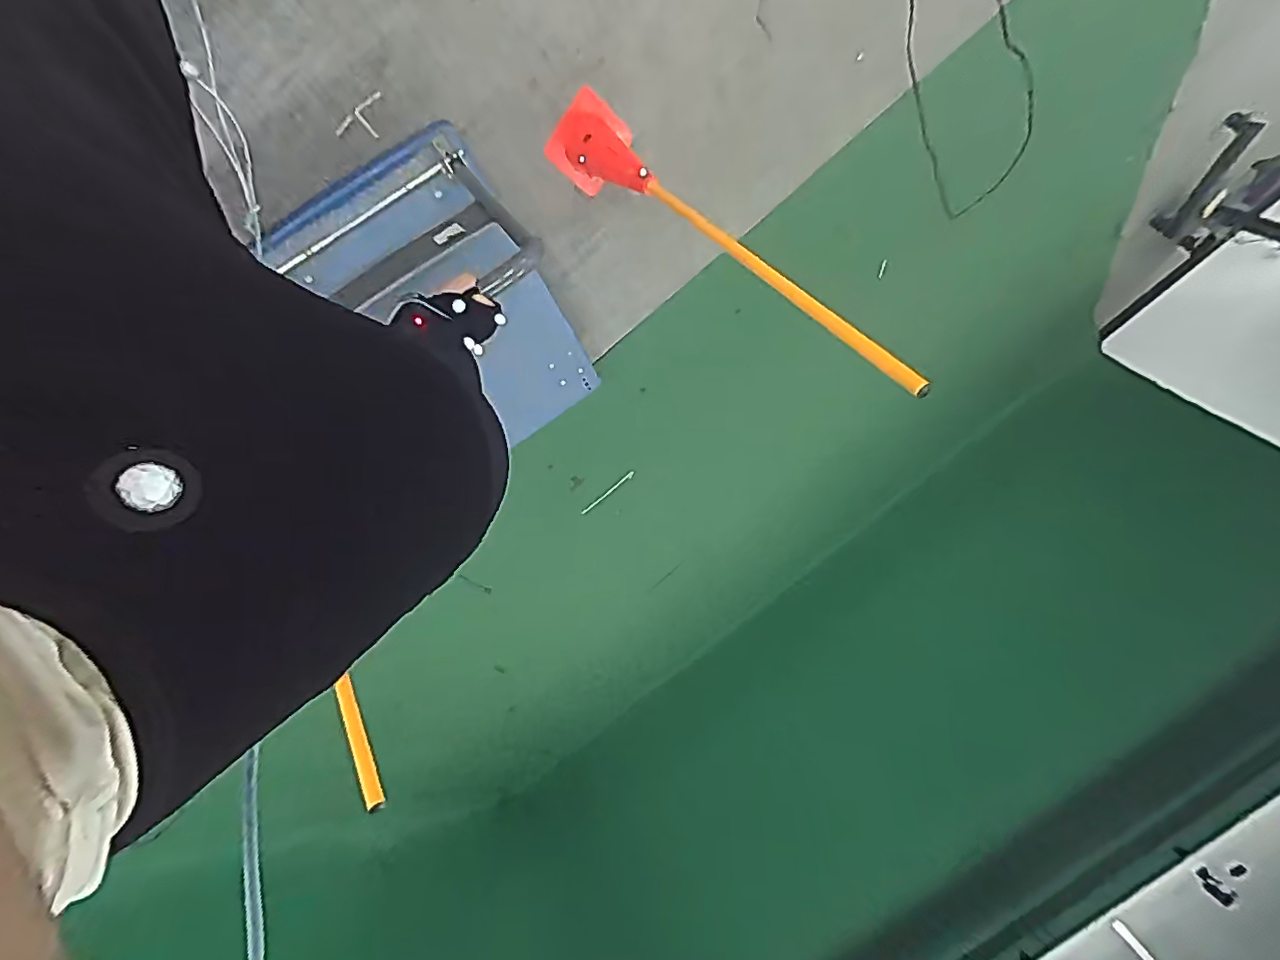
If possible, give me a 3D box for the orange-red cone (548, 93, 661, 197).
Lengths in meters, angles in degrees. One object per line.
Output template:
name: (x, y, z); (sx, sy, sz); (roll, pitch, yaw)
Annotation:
orange-red cone: (-0.051, -0.799, 1.376); (0.199, 0.360, 0.198); (-50, 142, 15)
